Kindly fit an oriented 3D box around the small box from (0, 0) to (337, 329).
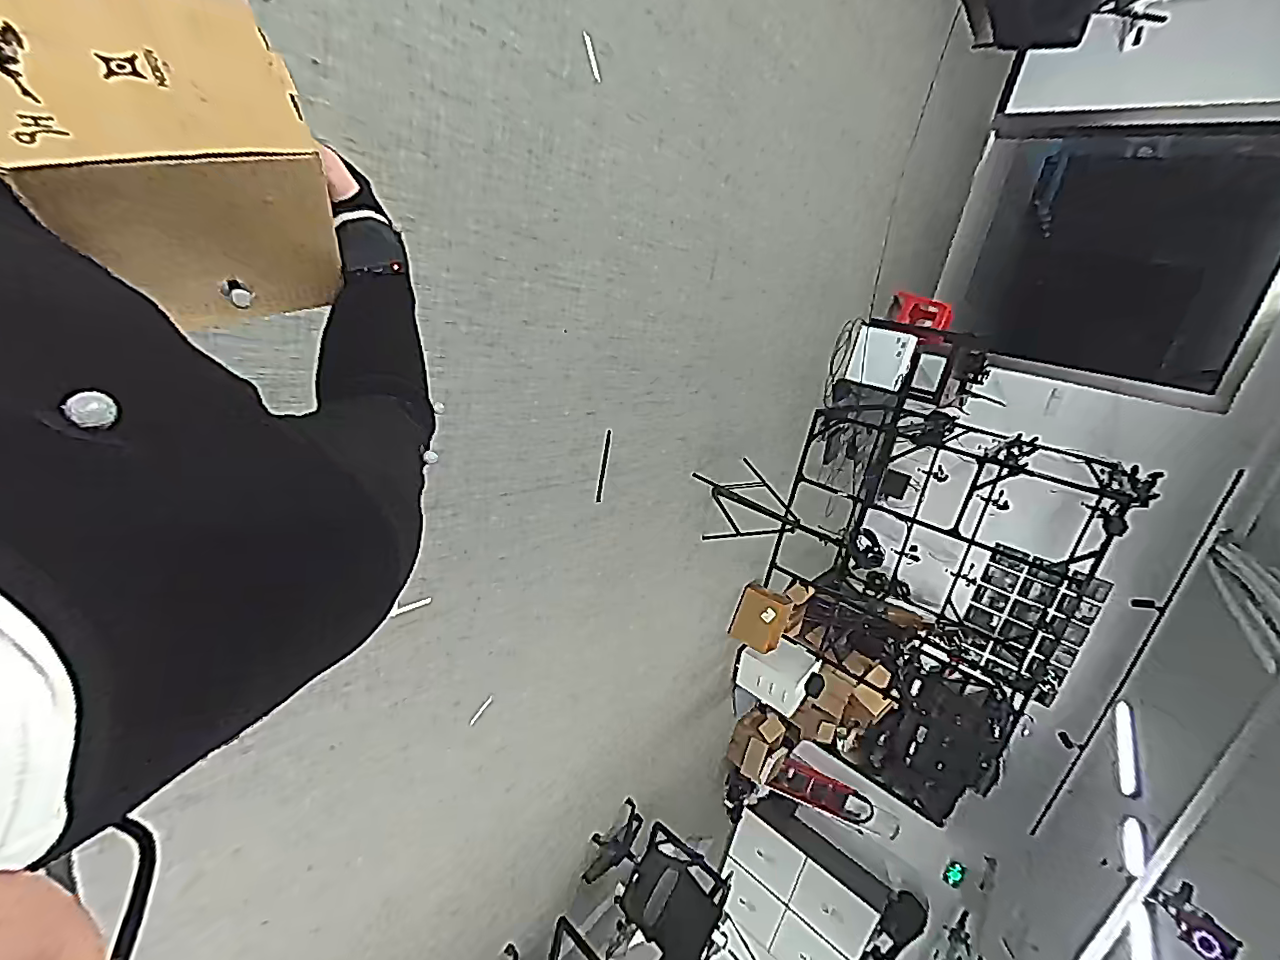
[{"bbox_3d":[-0.378,-0.255,0.458,0.179,0.168,0.176,-23,167,-29],"label":"small box"}]
